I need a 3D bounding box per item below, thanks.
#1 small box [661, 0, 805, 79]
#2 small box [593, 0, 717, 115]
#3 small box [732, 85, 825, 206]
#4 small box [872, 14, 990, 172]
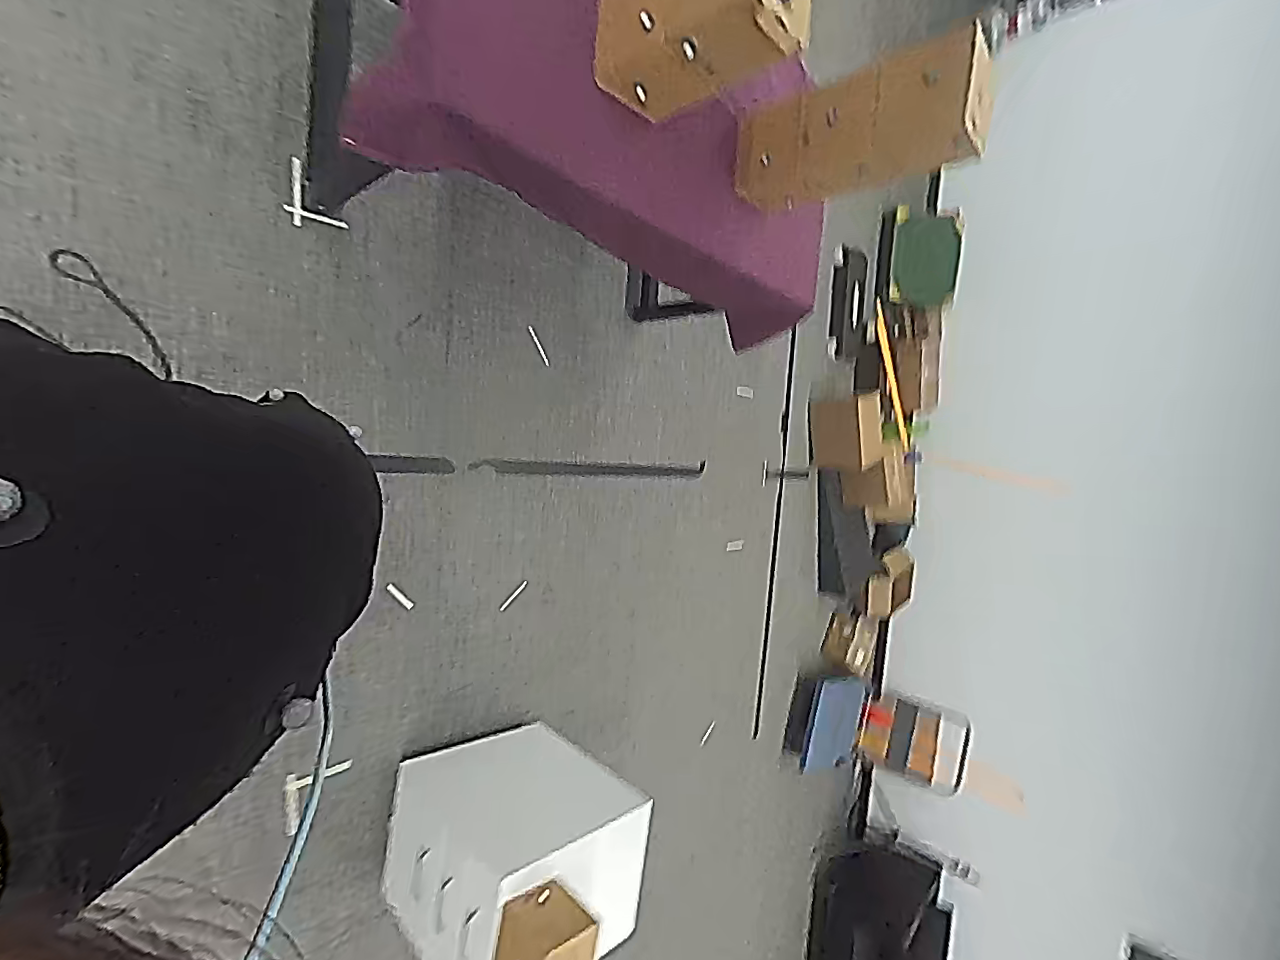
[{"bbox_3d":[0.149,-0.789,0.859,0.168,0.176,0.179,-4,99,-47],"label":"small box"},{"bbox_3d":[0.030,-0.806,0.972,0.168,0.176,0.179,-2,99,-47],"label":"small box"},{"bbox_3d":[0.338,-0.787,1.299,0.168,0.176,0.179,-1,97,-47],"label":"small box"},{"bbox_3d":[0.578,-0.753,1.078,0.168,0.176,0.179,-1,97,-47],"label":"small box"}]
